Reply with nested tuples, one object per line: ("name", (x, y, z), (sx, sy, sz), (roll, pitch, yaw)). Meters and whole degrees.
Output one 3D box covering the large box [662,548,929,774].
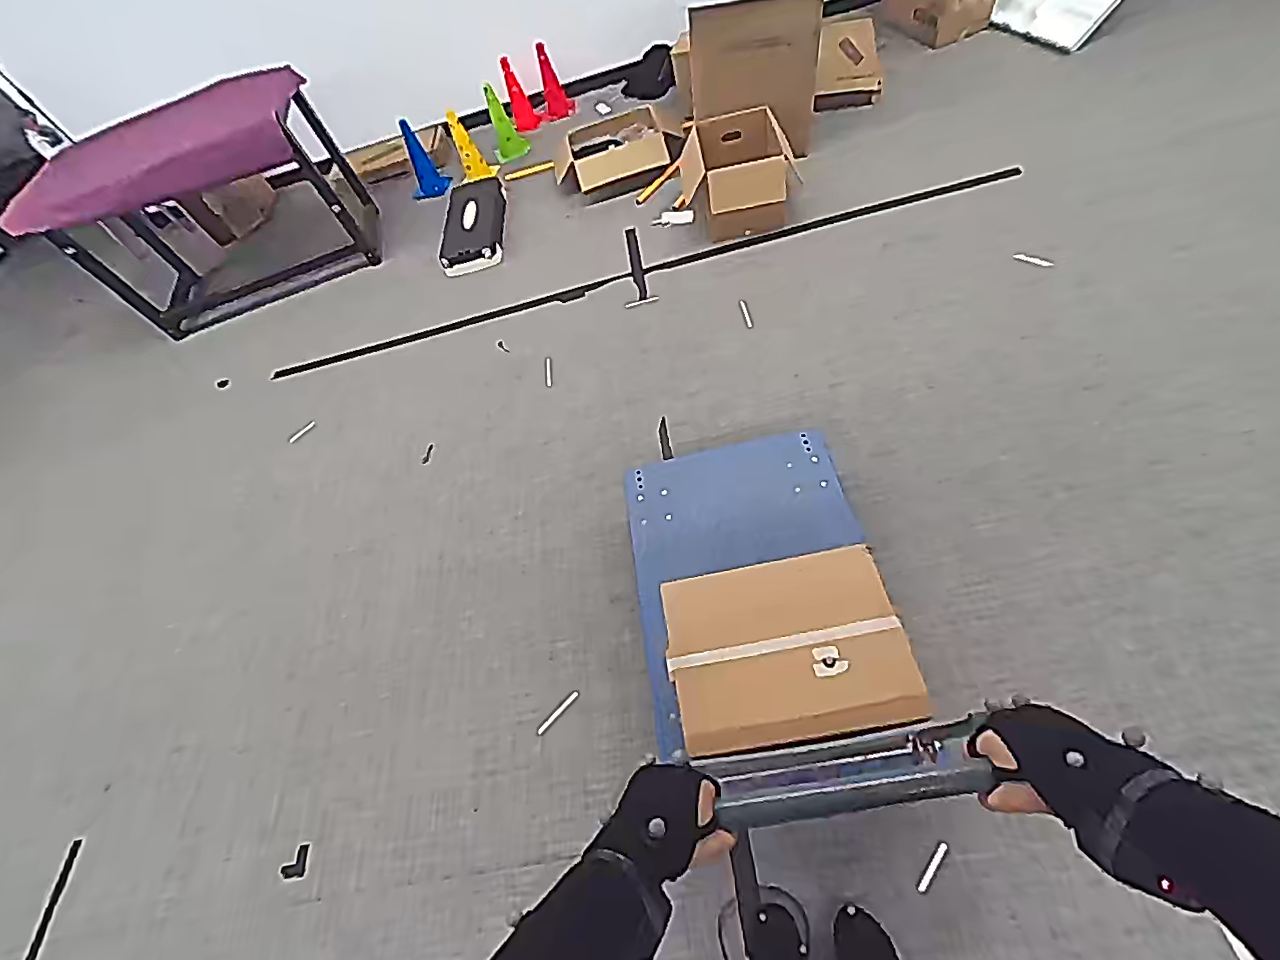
("large box", (0.284, 0.379, 1.096), (0.408, 0.320, 0.320), (-13, 57, 5))
